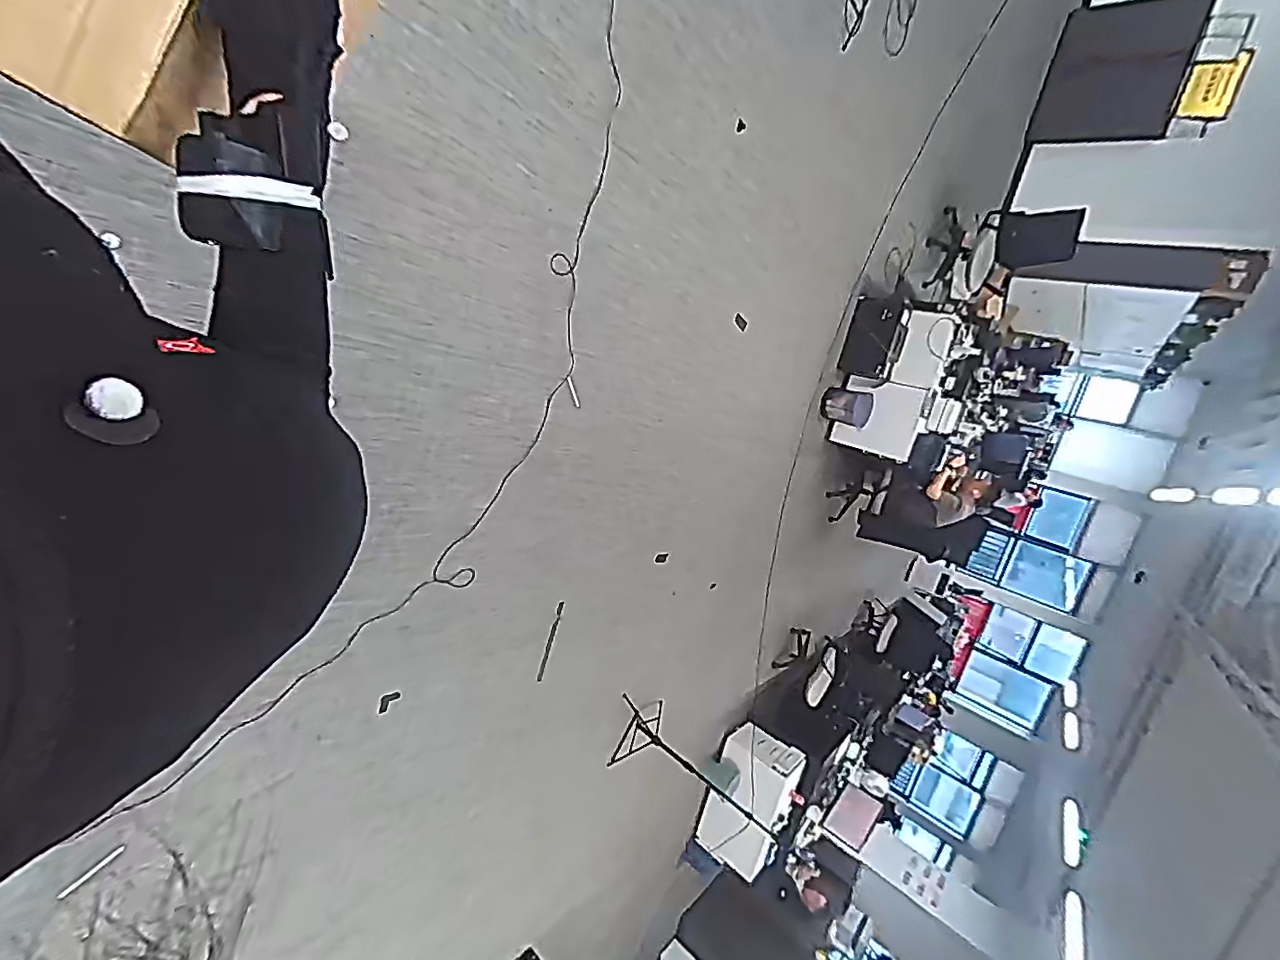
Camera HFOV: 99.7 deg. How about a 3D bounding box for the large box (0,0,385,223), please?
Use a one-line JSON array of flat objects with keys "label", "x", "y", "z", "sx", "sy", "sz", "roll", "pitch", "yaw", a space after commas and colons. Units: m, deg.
[{"label": "large box", "x": -0.469, "y": -0.471, "z": 0.405, "sx": 0.408, "sy": 0.320, "sz": 0.320, "roll": 28, "pitch": 96, "yaw": -24}]
